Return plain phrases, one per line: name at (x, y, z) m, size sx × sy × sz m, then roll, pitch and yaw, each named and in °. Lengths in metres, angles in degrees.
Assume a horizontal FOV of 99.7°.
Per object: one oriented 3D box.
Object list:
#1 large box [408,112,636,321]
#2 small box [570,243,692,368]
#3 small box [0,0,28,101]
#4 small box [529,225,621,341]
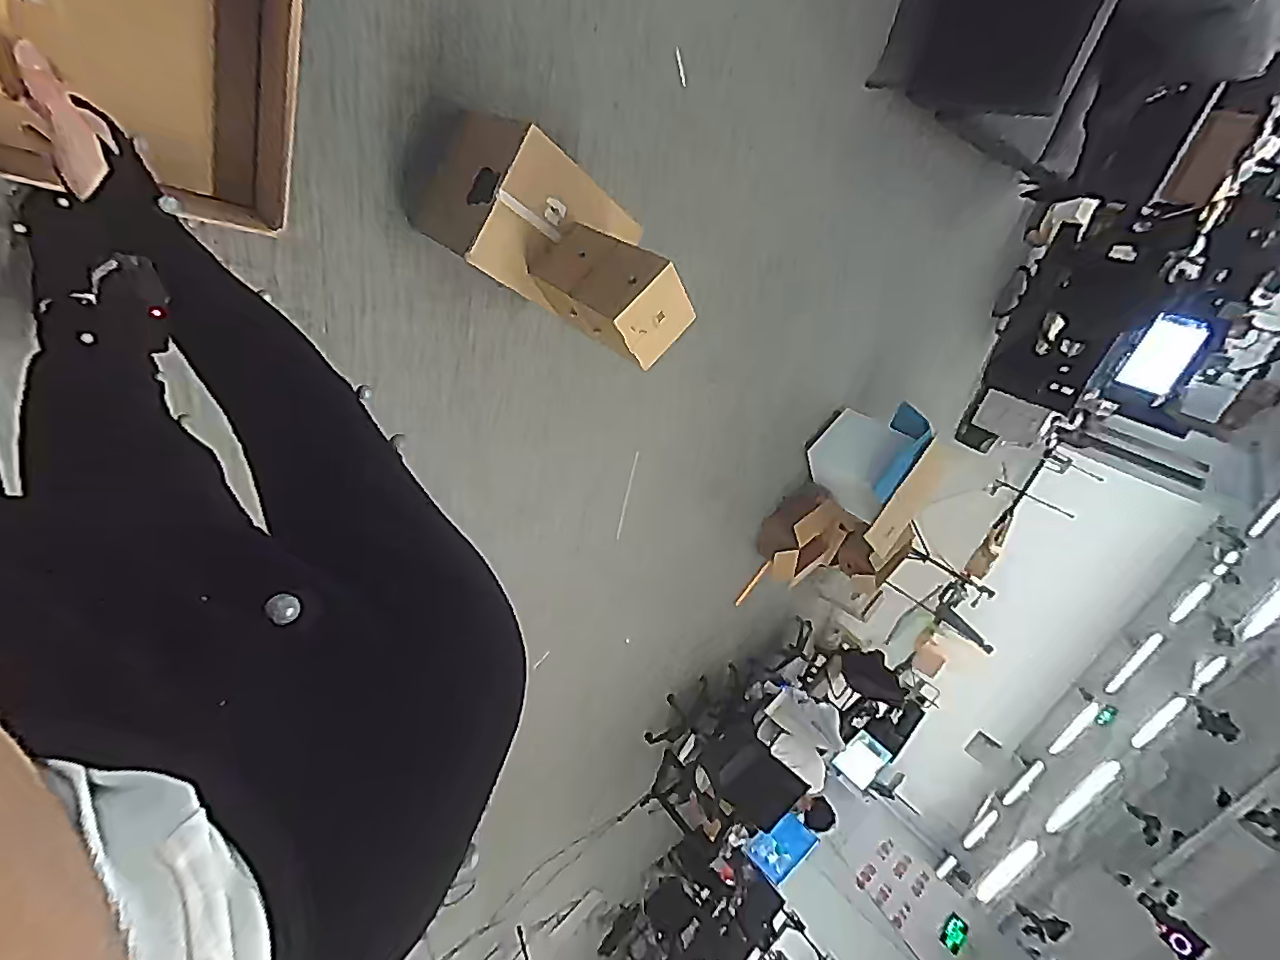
large box at (-0.293, -0.642, 1.376) m, size 0.408 × 0.320 × 0.320 m, roll 18°, pitch 105°, yaw -51°
small box at (-0.021, -0.387, 1.187) m, size 0.179 × 0.176 × 0.168 m, roll -47°, pitch 144°, yaw -5°
small box at (-0.571, -0.412, 0.388) m, size 0.168 × 0.176 × 0.179 m, roll -4°, pitch 123°, yaw -45°
small box at (-0.129, -0.471, 1.281) m, size 0.179 × 0.176 × 0.168 m, roll -47°, pitch 144°, yaw -6°
